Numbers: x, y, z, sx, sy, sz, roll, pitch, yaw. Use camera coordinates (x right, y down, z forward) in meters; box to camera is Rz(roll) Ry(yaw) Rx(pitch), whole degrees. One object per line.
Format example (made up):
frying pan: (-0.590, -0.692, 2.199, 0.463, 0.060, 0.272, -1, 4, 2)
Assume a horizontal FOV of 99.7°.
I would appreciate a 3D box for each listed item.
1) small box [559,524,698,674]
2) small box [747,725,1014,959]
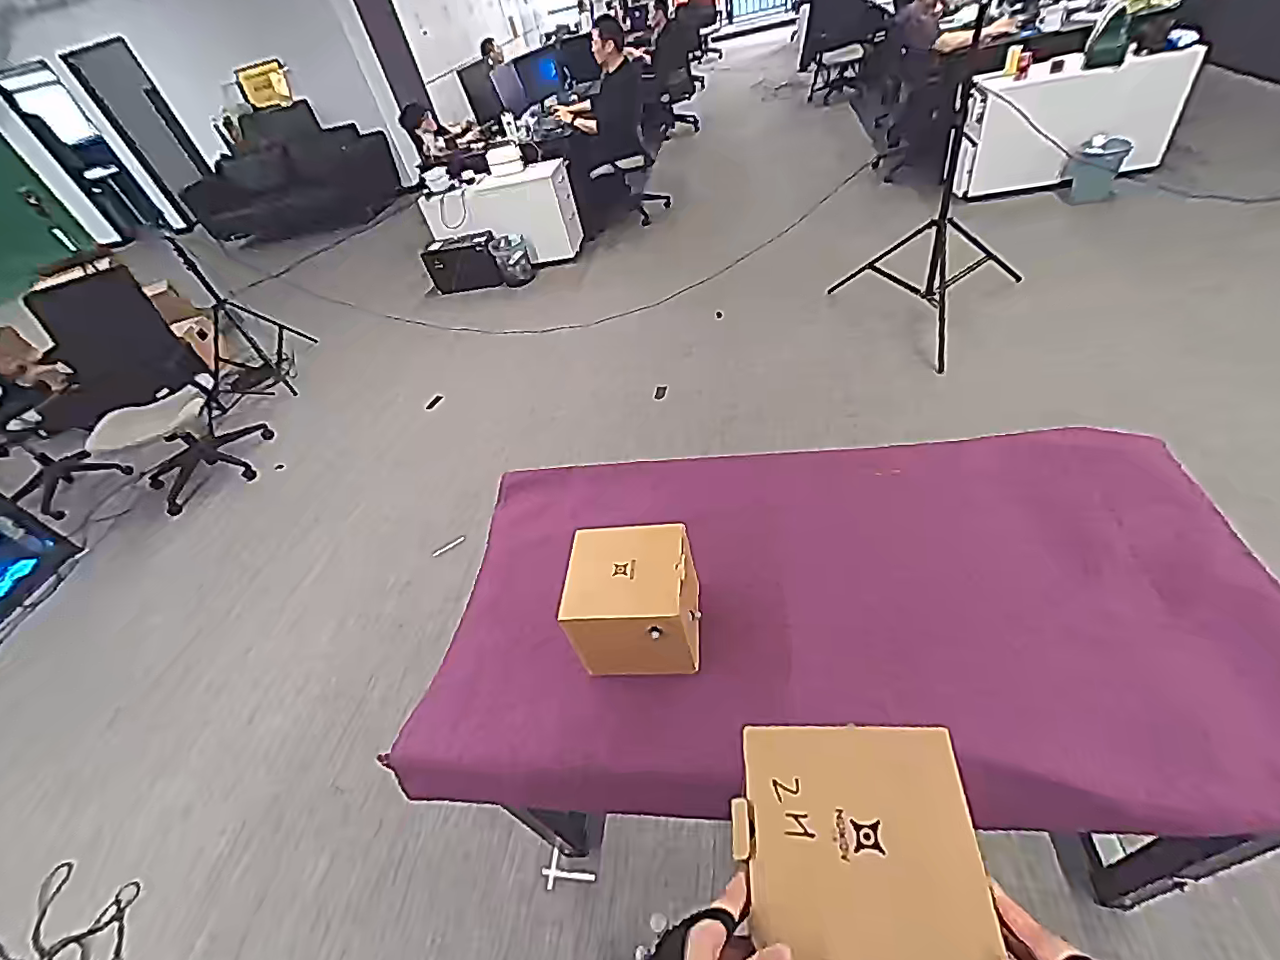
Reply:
small box: (-0.007, 0.190, 0.843, 0.179, 0.176, 0.168, -5, 44, 10)
small box: (0.196, 0.333, 0.486, 0.179, 0.176, 0.168, -7, 47, 15)
